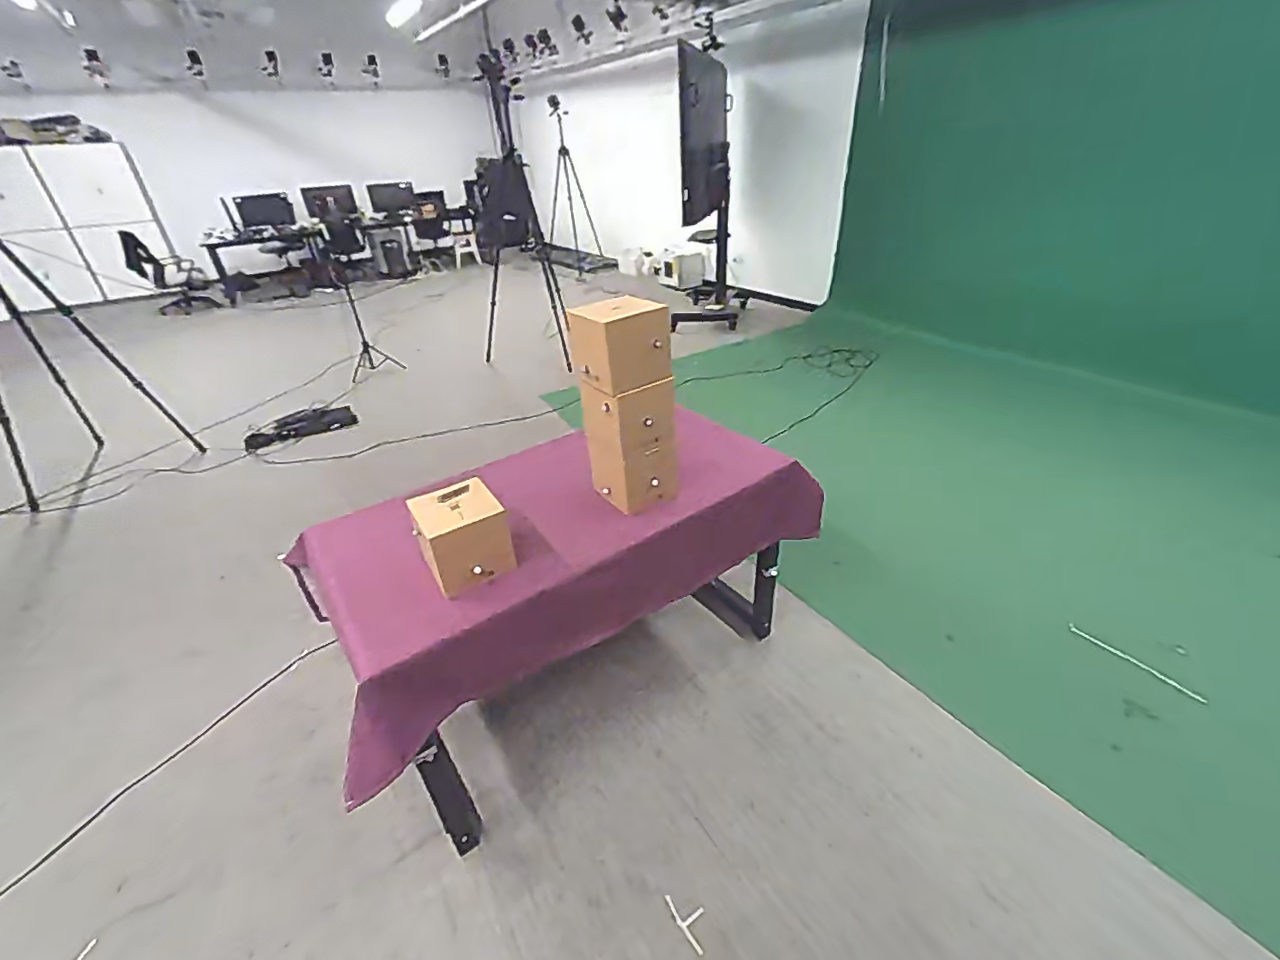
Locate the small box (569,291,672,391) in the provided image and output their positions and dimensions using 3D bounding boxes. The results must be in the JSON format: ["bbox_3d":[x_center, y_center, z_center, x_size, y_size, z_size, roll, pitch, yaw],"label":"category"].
[{"bbox_3d":[-0.042,-0.325,1.251,0.179,0.176,0.168,-24,37,-27],"label":"small box"}]

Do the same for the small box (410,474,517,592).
[{"bbox_3d":[-0.392,0.116,1.208,0.168,0.176,0.179,-22,38,-27],"label":"small box"}]

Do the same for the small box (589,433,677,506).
[{"bbox_3d":[-0.014,-0.049,1.428,0.168,0.176,0.179,-23,38,-28],"label":"small box"}]

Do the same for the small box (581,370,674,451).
[{"bbox_3d":[-0.026,-0.186,1.337,0.168,0.176,0.179,-23,37,-28],"label":"small box"}]
